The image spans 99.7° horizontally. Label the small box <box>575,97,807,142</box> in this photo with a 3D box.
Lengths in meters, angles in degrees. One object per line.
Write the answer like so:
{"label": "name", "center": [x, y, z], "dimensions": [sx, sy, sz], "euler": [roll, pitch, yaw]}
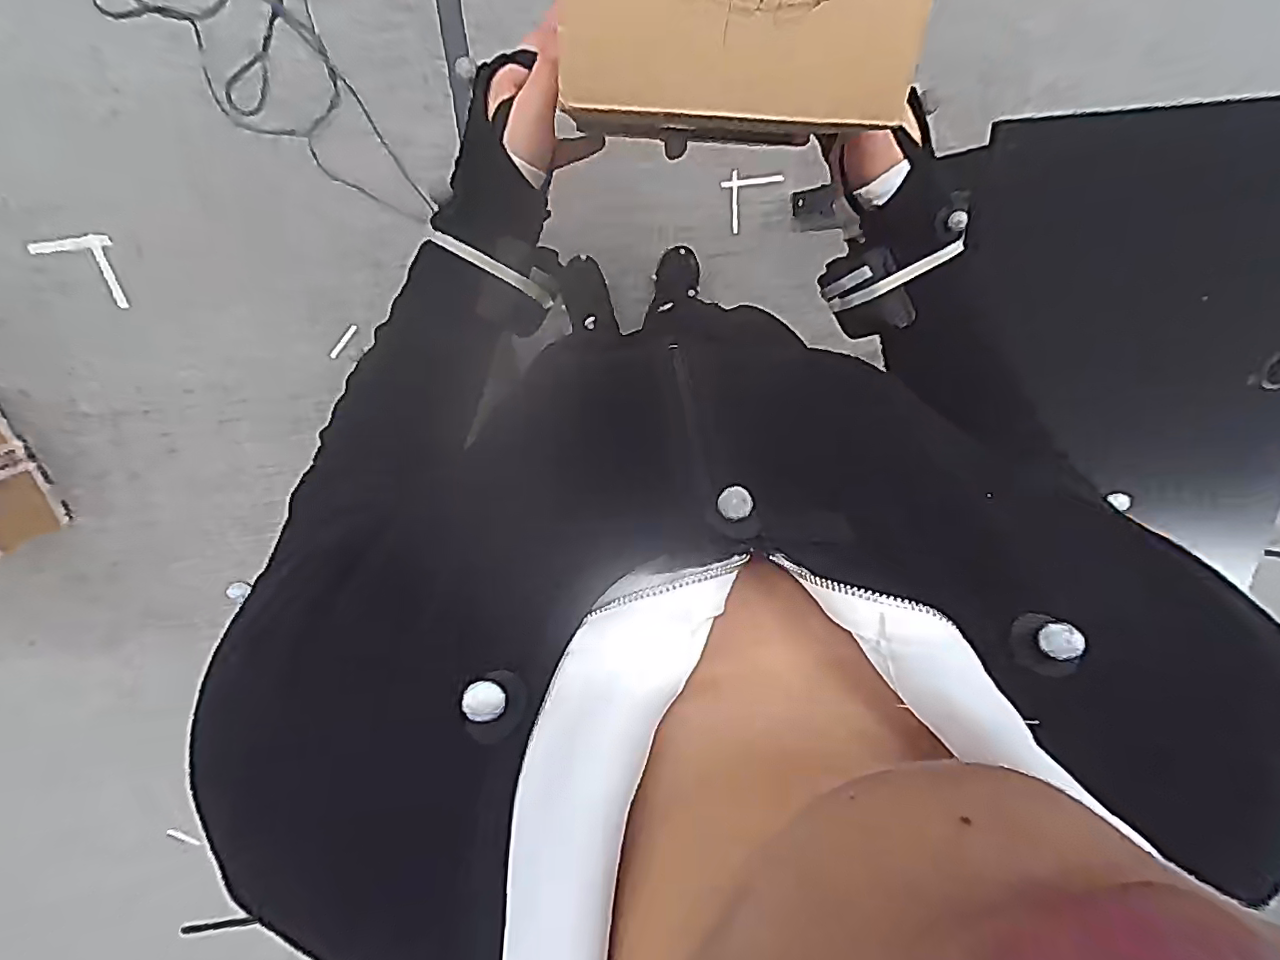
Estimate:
{"label": "small box", "center": [0.038, -0.369, 0.426], "dimensions": [0.179, 0.176, 0.168], "euler": [1, 121, -4]}

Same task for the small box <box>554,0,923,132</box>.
{"label": "small box", "center": [0.042, -0.292, 0.281], "dimensions": [0.168, 0.176, 0.179], "euler": [1, 122, -4]}
